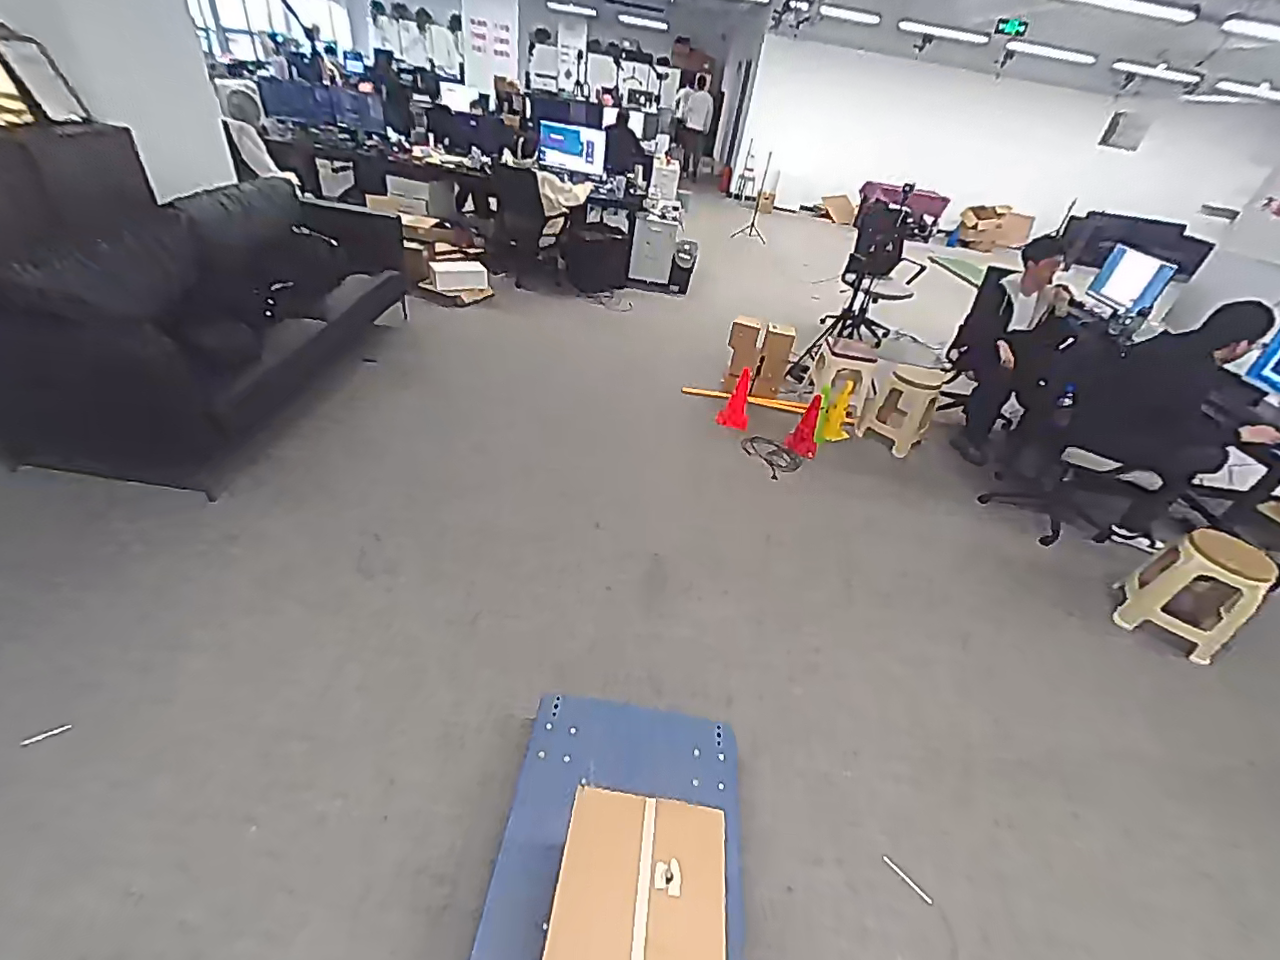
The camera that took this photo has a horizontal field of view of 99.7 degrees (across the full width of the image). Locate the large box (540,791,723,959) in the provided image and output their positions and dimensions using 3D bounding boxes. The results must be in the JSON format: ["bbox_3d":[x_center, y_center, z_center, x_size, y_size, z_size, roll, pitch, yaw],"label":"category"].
[{"bbox_3d":[-0.024,0.904,1.051,0.320,0.320,0.408,10,35,0],"label":"large box"}]
